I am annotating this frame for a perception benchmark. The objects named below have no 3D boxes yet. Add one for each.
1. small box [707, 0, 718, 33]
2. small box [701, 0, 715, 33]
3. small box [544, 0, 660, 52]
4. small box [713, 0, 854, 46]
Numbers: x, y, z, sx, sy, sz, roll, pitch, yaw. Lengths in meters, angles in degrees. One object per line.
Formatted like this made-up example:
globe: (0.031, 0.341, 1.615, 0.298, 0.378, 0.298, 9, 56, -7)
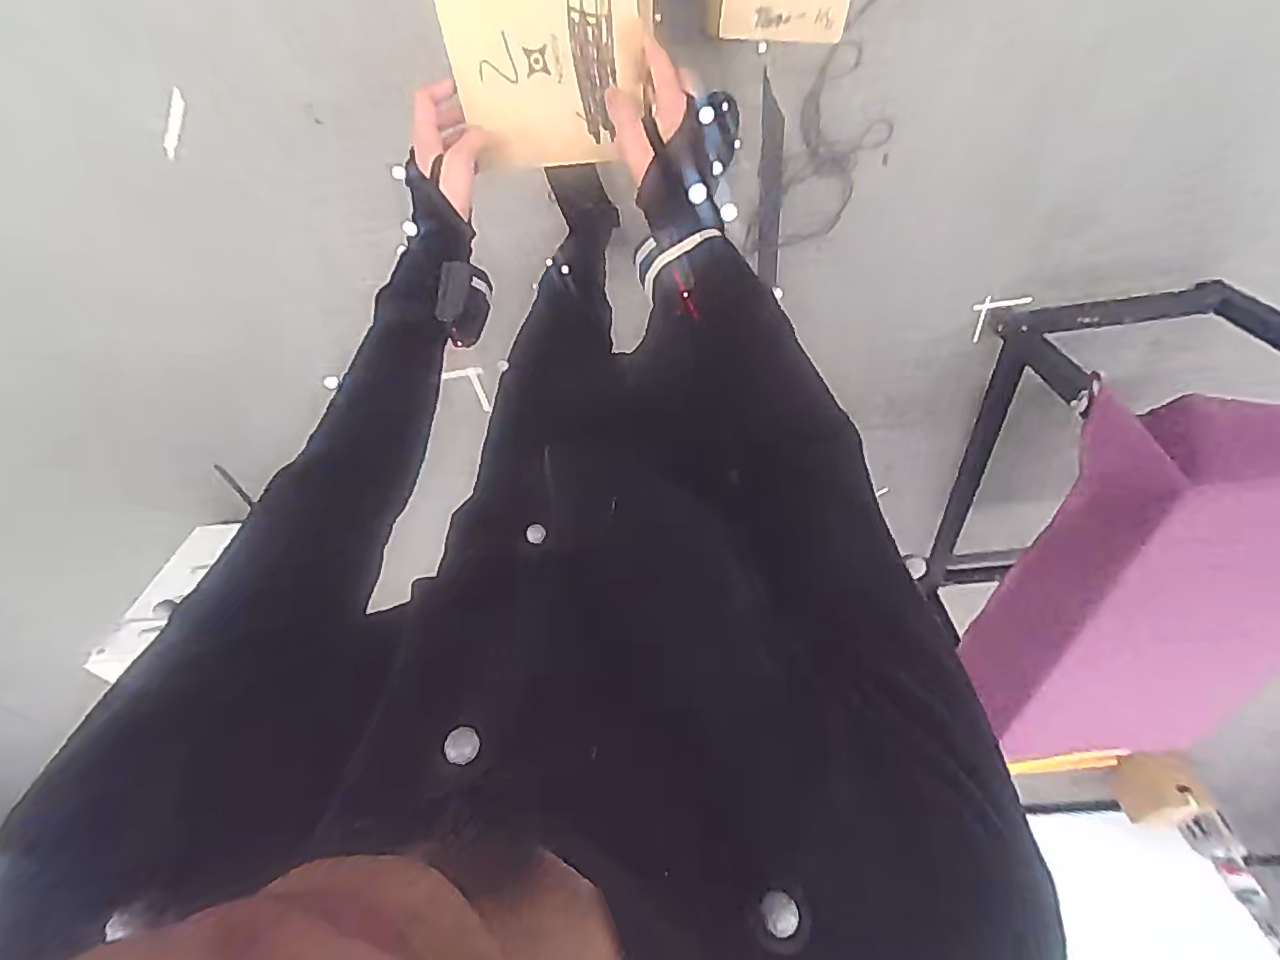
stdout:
small box: (0.196, -0.810, 0.841, 0.179, 0.176, 0.168, -3, 132, 4)
small box: (0.195, -0.919, 0.960, 0.168, 0.176, 0.179, -5, 132, 5)
small box: (-0.057, -0.791, 0.851, 0.179, 0.176, 0.168, 2, 132, -1)
small box: (0.193, -0.698, 0.720, 0.168, 0.176, 0.179, 2, 131, -1)
